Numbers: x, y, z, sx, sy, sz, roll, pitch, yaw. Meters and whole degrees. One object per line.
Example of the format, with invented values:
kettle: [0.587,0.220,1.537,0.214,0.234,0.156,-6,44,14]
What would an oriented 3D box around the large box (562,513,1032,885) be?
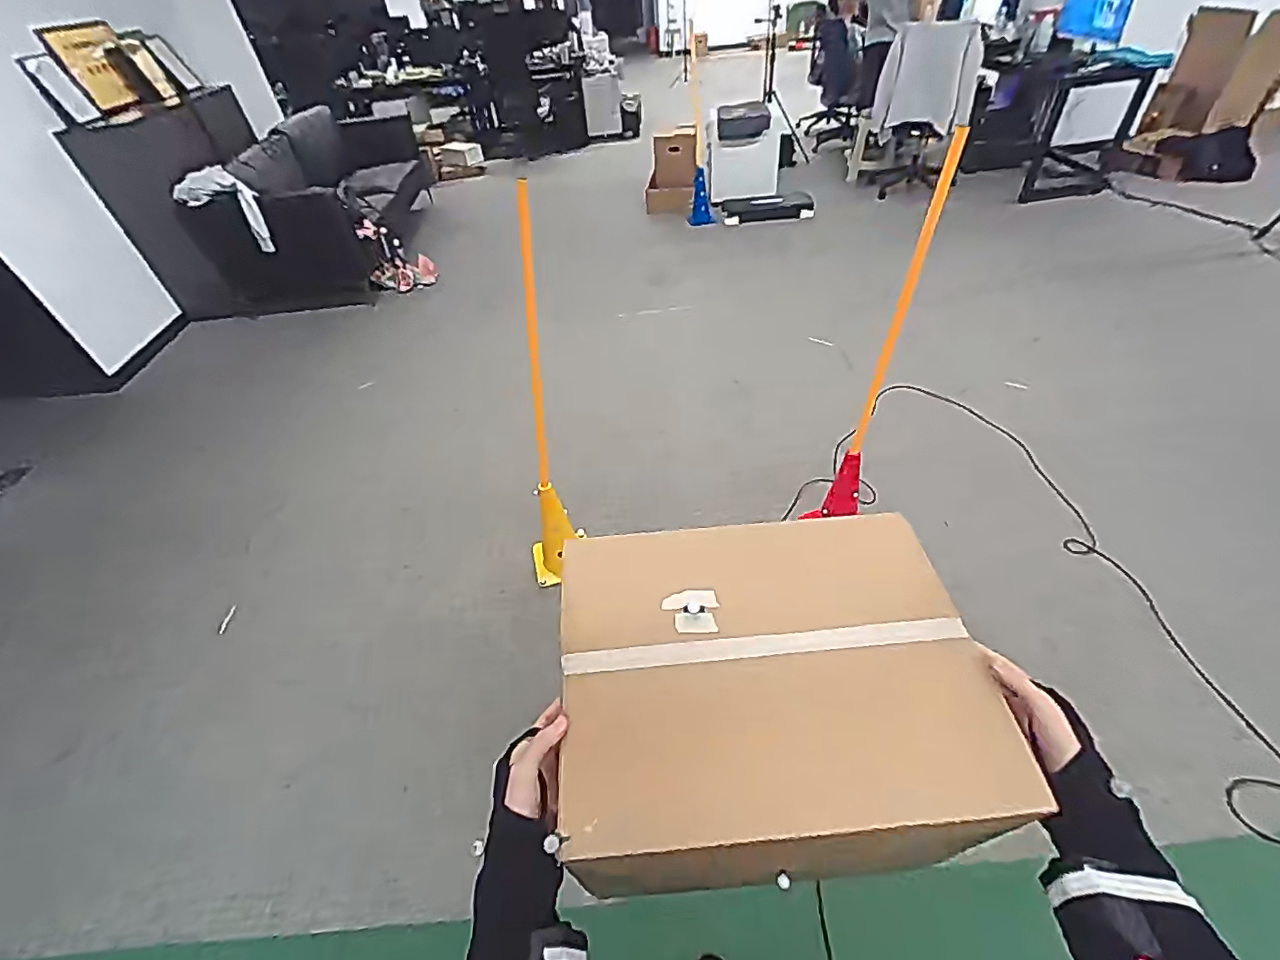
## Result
large box: [0.130,0.271,0.656,0.408,0.320,0.320,-5,48,-1]
